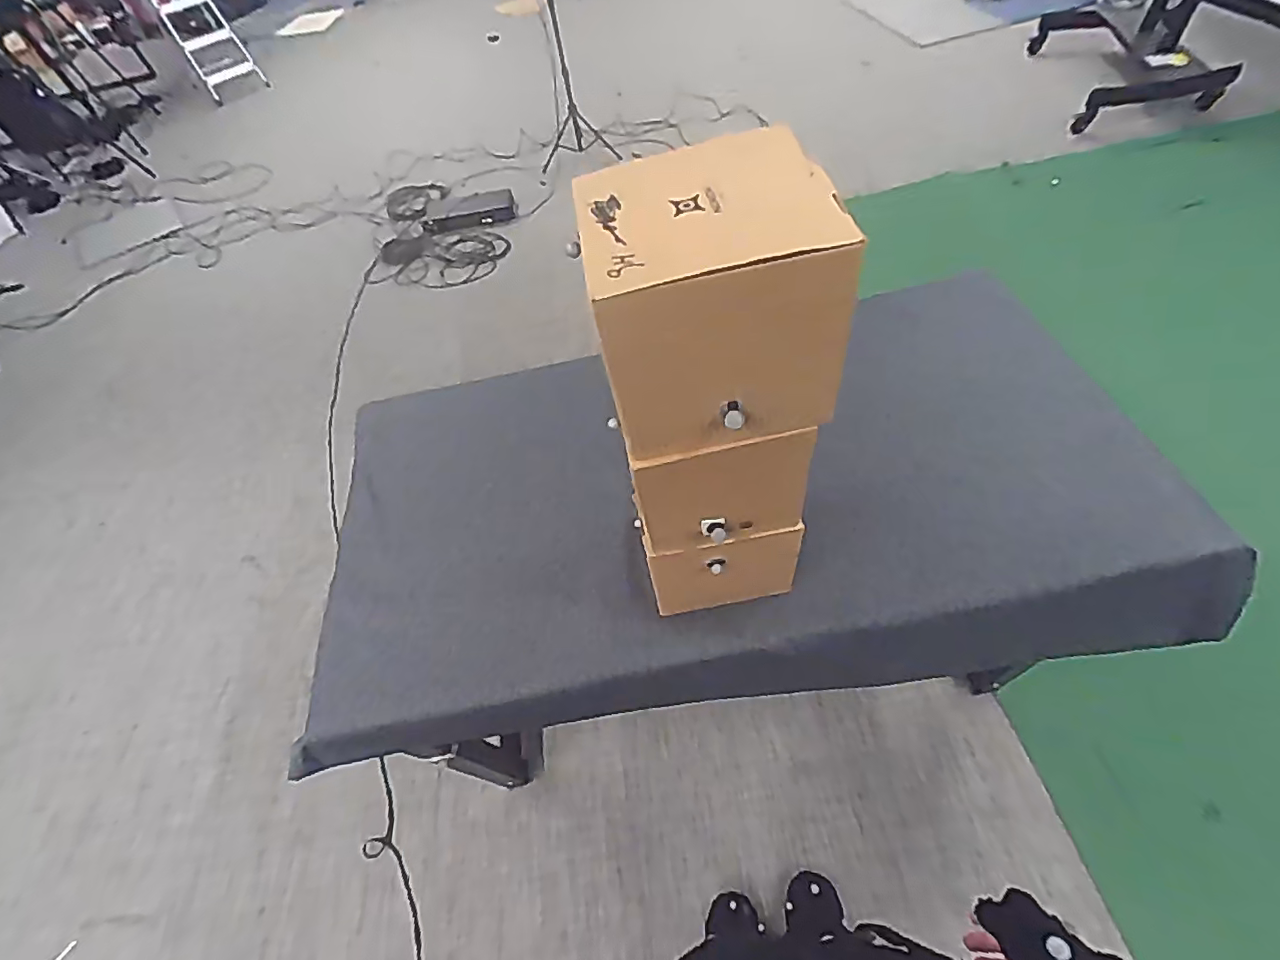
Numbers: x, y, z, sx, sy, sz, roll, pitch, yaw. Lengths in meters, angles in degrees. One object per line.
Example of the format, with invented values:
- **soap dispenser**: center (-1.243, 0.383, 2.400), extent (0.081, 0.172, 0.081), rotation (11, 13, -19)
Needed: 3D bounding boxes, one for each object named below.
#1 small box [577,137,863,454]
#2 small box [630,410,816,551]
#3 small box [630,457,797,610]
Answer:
- **small box**: center (0.054, -0.143, 0.447), extent (0.179, 0.176, 0.168), rotation (-11, 53, 2)
- **small box**: center (0.070, -0.050, 0.580), extent (0.168, 0.176, 0.179), rotation (-13, 55, 1)
- **small box**: center (0.093, 0.059, 0.719), extent (0.179, 0.176, 0.168), rotation (-11, 54, 1)
